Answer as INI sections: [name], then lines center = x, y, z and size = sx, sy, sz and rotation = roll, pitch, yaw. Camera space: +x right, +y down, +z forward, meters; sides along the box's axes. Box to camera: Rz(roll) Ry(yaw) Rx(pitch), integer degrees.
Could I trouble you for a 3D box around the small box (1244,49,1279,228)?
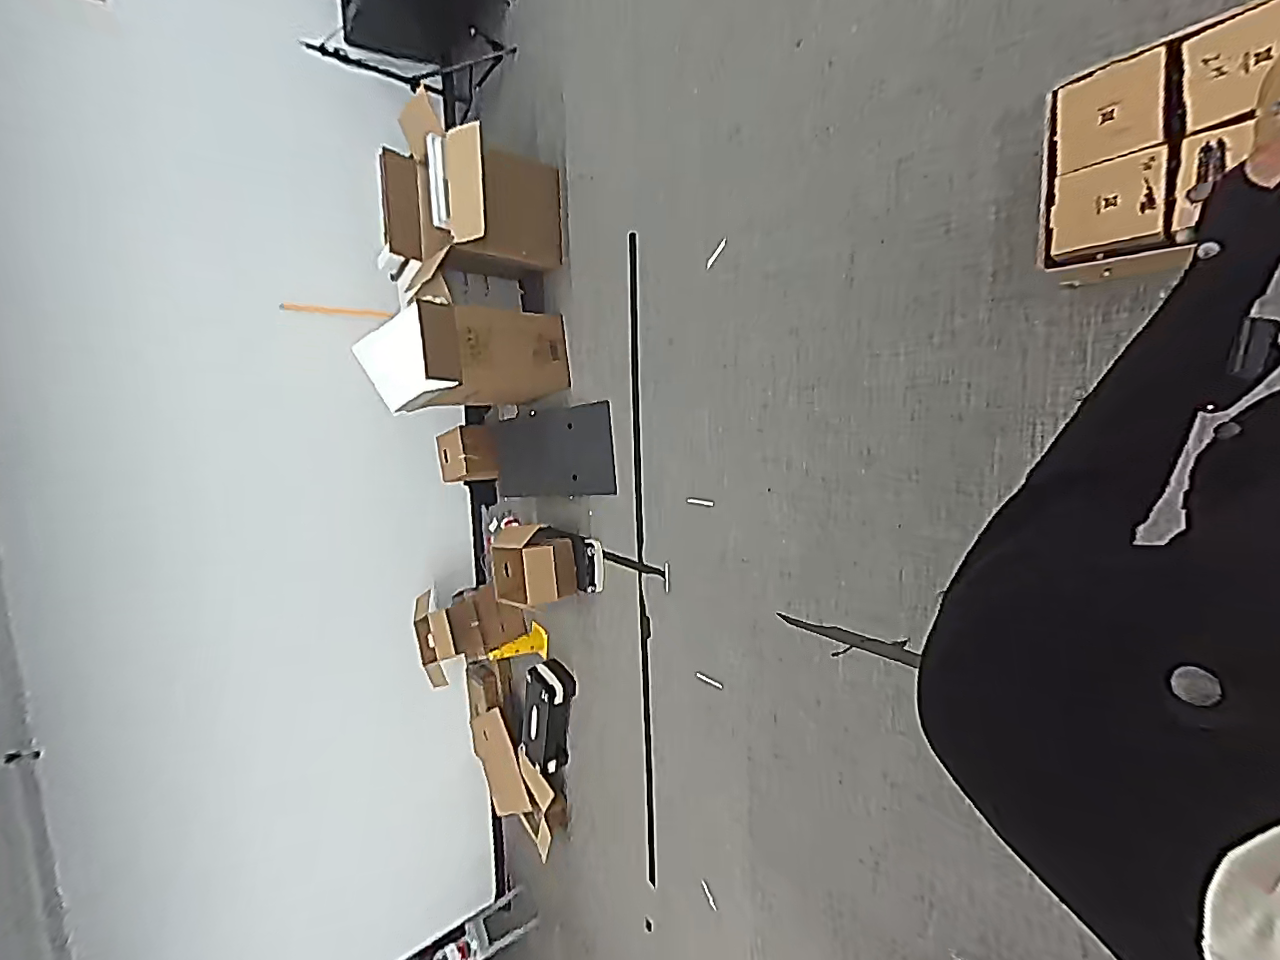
[small box]
center = 0.675, -0.338, 0.467
size = 0.168, 0.176, 0.179
rotation = 6, 92, 33
